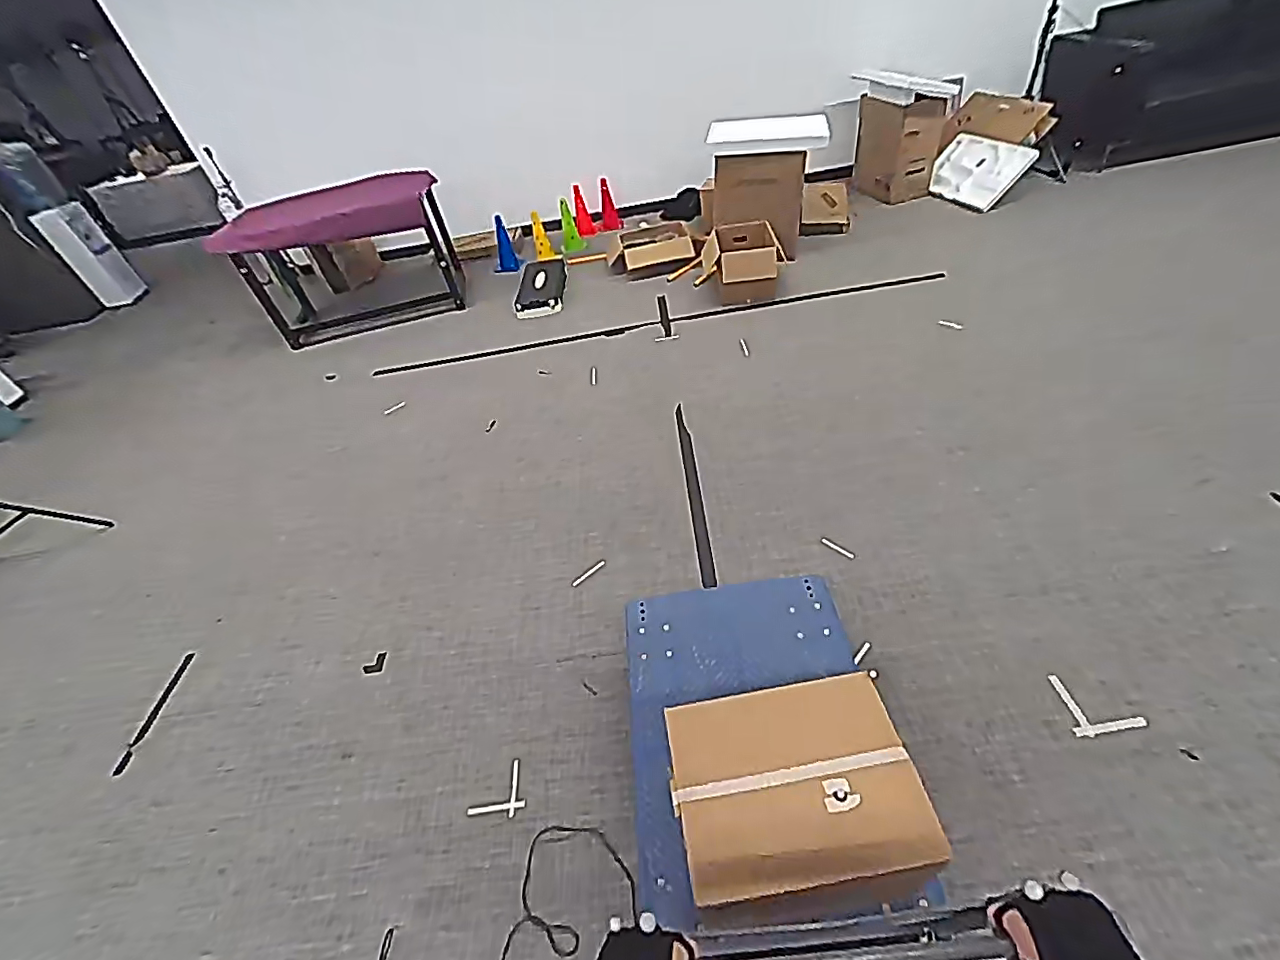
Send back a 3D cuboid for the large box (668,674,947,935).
[{"bbox_3d":[0.286,0.627,1.047,0.408,0.320,0.320,-11,44,0],"label":"large box"}]
